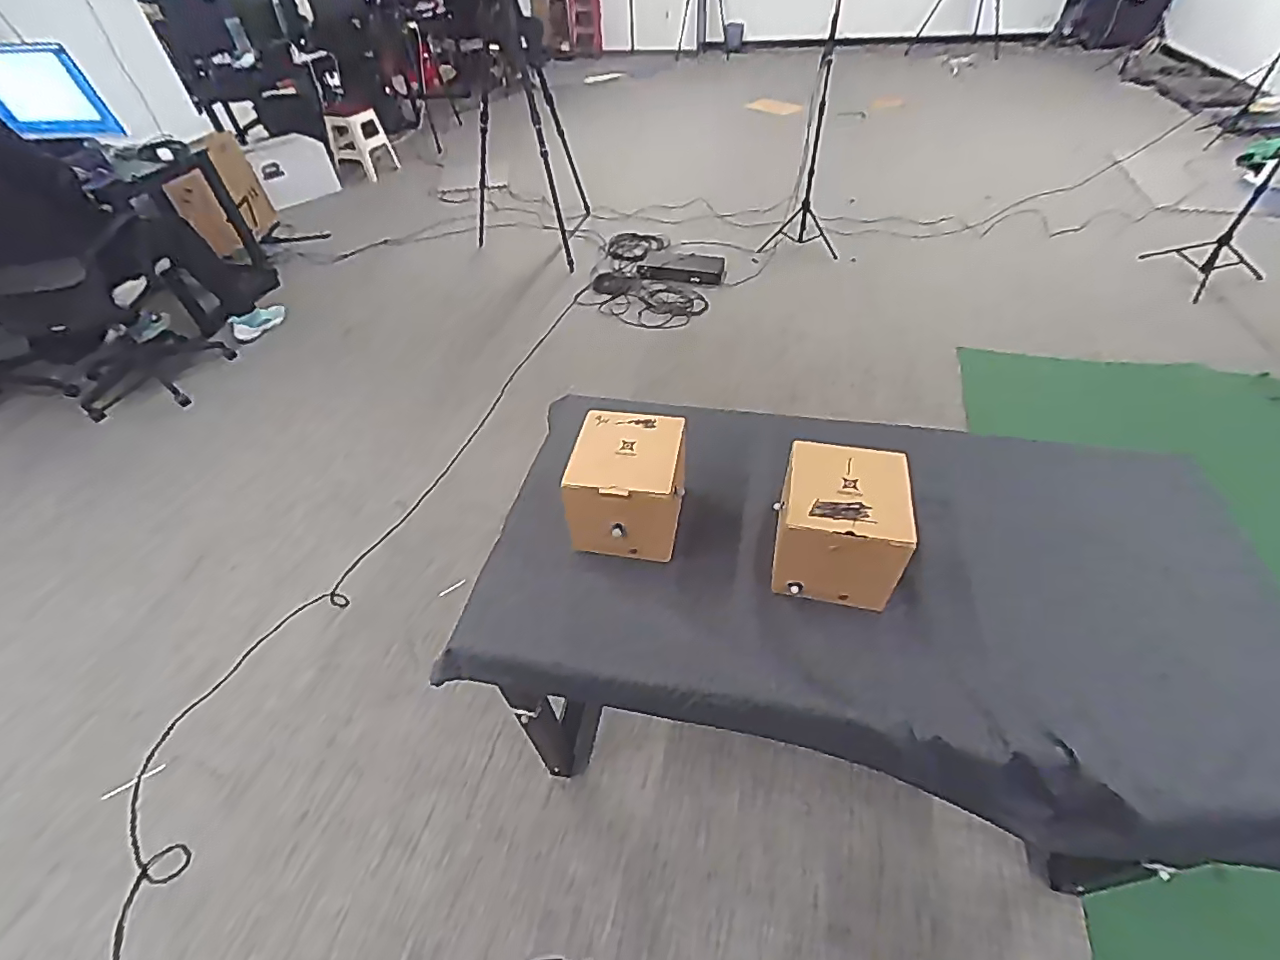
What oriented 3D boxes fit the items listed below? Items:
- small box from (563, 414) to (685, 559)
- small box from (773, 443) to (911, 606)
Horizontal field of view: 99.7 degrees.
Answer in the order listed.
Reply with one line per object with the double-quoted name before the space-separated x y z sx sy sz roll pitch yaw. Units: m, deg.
"small box" -0.015 0.013 0.909 0.168 0.176 0.179 6 48 10
"small box" 0.301 0.069 0.829 0.168 0.176 0.179 8 47 12
